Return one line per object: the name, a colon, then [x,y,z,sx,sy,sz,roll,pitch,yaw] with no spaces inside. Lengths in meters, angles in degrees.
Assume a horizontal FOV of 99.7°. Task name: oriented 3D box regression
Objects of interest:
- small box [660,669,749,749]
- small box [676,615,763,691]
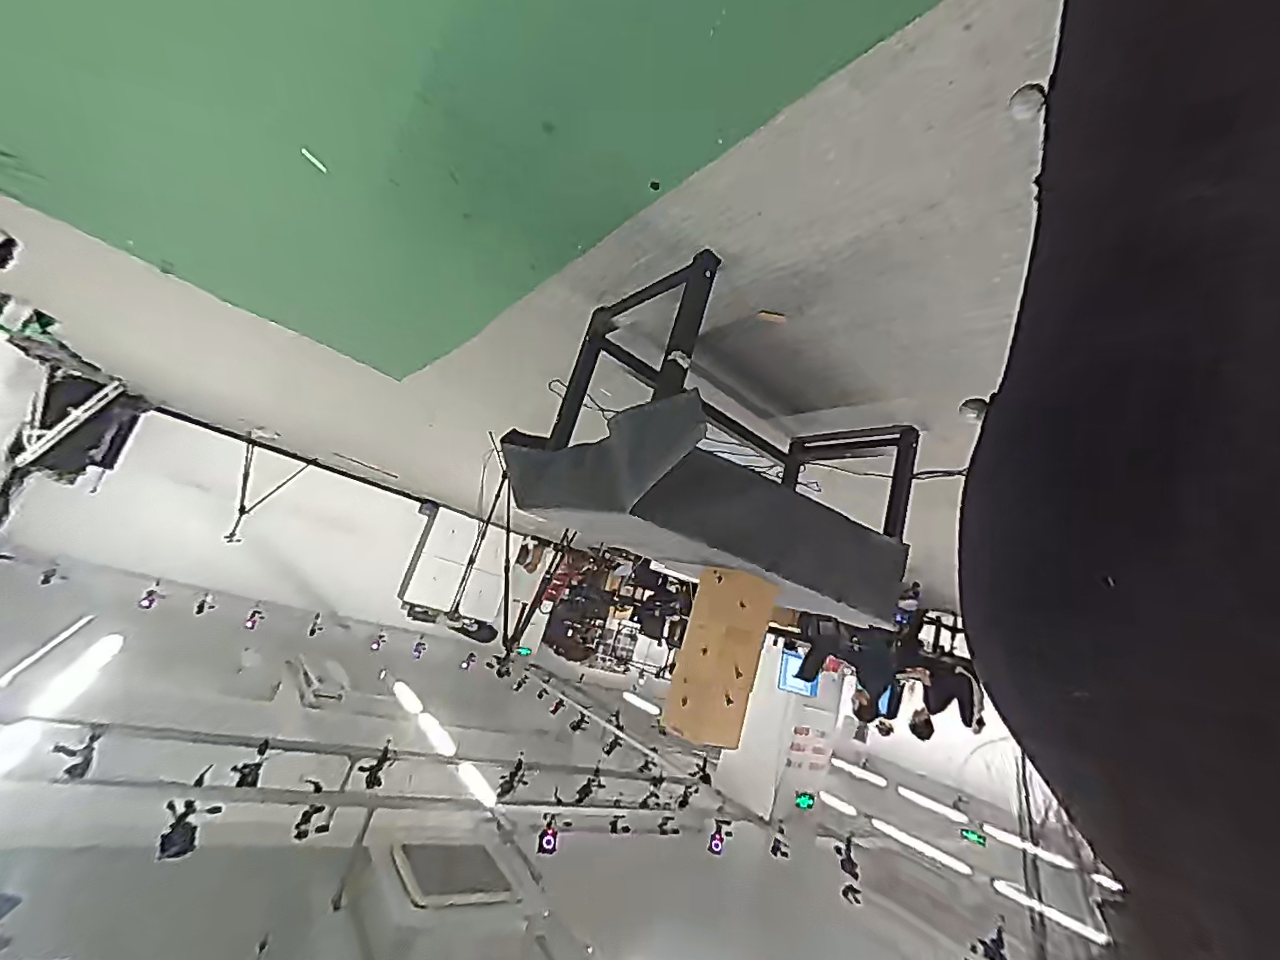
small box: [0.193,0.669,1.594,0.179,0.176,0.168,27,163,-34]
small box: [0.241,0.516,1.628,0.179,0.176,0.168,26,164,-32]
